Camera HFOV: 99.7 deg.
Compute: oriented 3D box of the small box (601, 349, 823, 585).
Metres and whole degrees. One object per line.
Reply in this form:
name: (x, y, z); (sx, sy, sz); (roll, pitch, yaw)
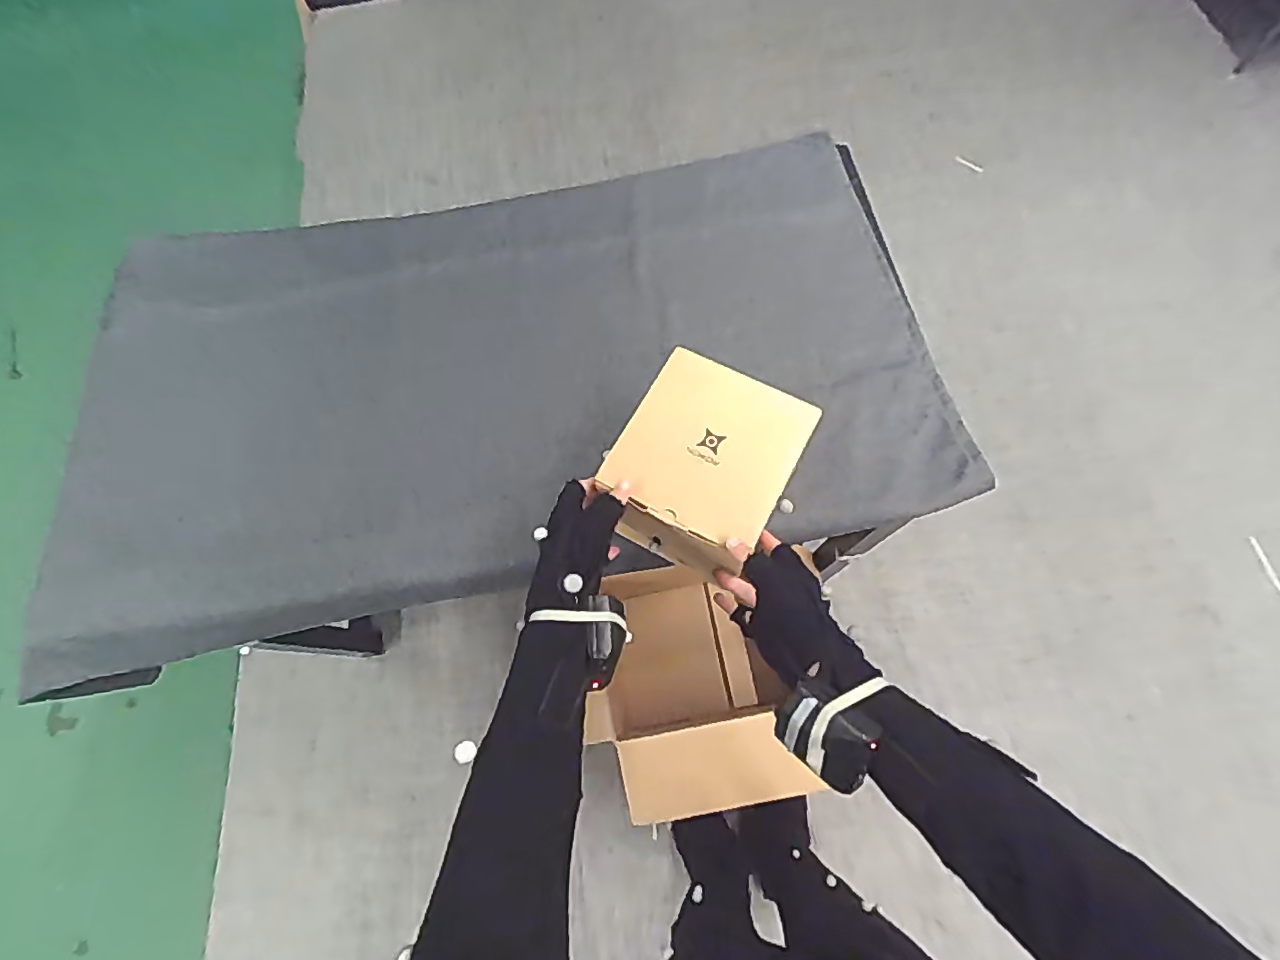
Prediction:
small box: (0.074, -0.005, 0.602); (0.168, 0.176, 0.179); (27, 74, 12)
